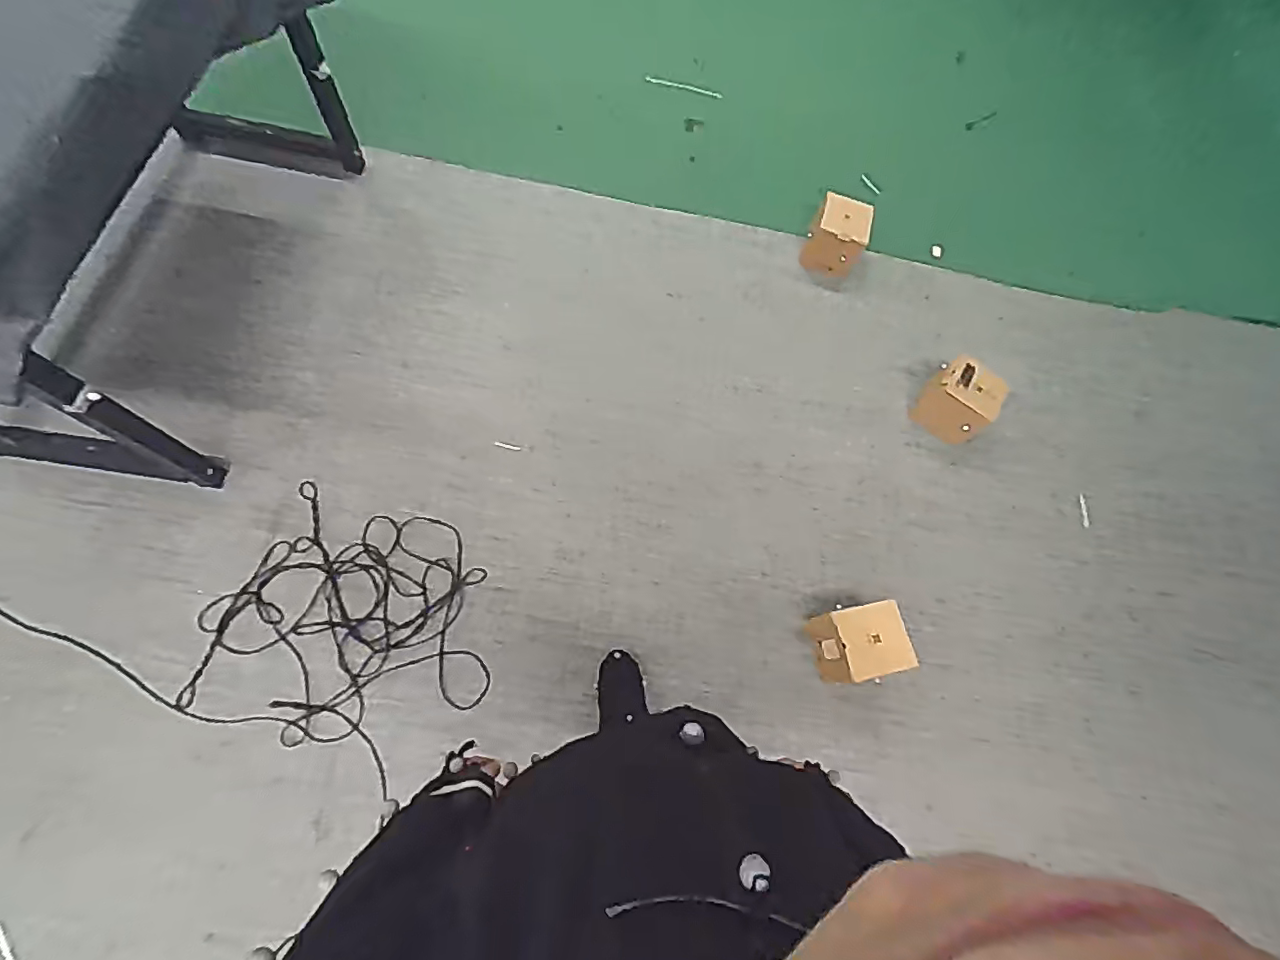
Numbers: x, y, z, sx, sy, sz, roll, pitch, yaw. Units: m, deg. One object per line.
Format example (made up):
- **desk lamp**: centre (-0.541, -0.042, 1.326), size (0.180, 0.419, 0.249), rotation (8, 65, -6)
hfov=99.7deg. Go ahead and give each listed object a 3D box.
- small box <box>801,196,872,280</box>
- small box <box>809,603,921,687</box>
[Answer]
- **small box**: centre (0.668, -0.823, 1.855), size (0.168, 0.176, 0.179), rotation (17, 67, -2)
- **small box**: centre (0.557, 0.416, 1.362), size (0.179, 0.176, 0.168), rotation (-10, 71, -10)
